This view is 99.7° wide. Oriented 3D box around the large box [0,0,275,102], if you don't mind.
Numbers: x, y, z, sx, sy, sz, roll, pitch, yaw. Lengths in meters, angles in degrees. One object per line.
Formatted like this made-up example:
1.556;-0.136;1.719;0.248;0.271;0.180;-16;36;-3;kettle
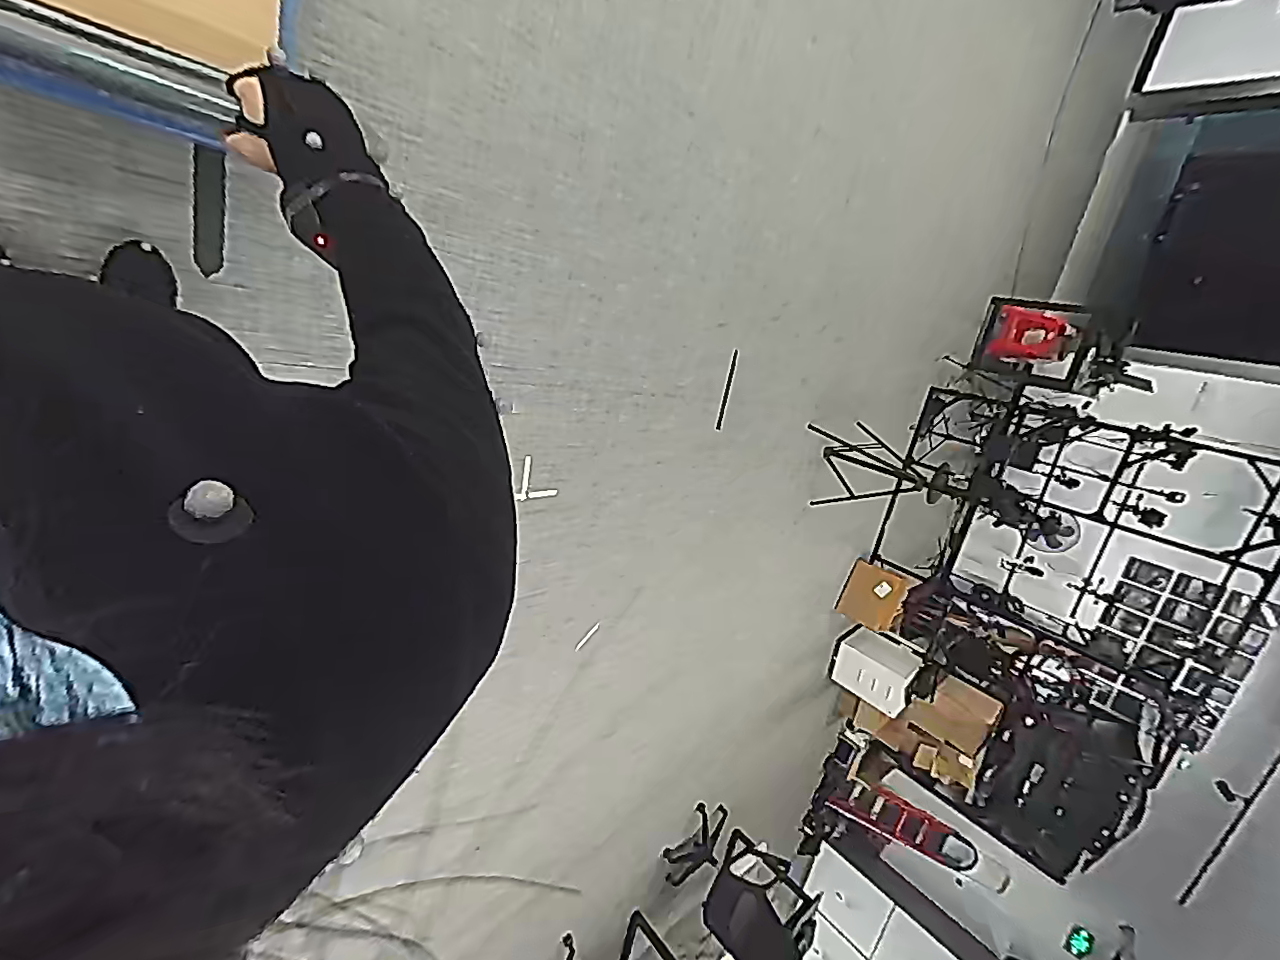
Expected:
-0.730;-0.737;0.677;0.408;0.320;0.320;-5;116;-45;large box
